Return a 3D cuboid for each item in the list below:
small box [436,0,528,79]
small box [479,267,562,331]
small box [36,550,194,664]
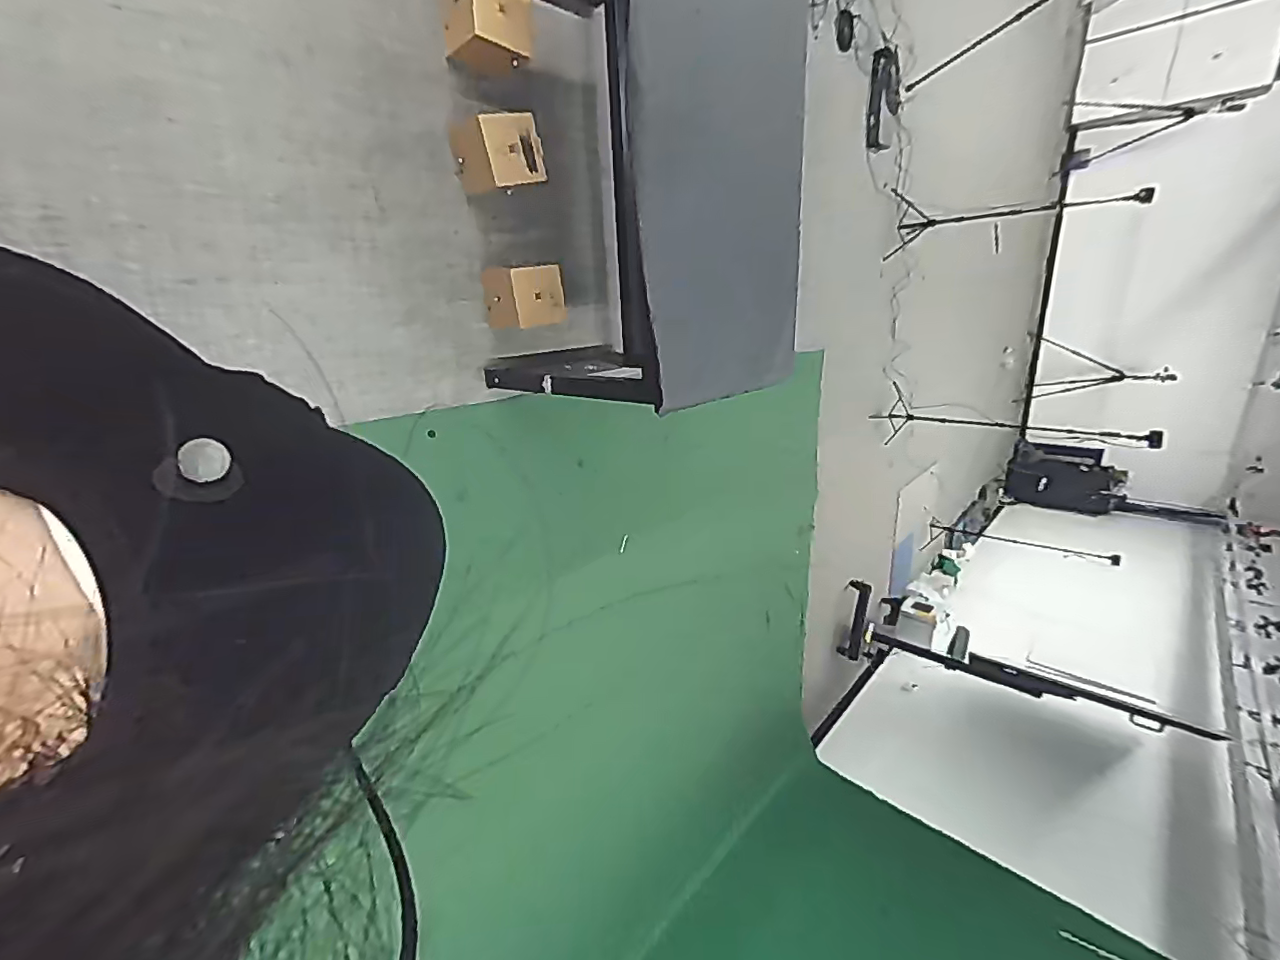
[{"bbox_3d":[-0.415,-1.184,1.408,0.179,0.176,0.168,-16,111,-45],"label":"small box"},{"bbox_3d":[-0.362,-0.541,1.623,0.179,0.176,0.168,-26,119,-41],"label":"small box"},{"bbox_3d":[-1.043,0.249,1.076,0.179,0.176,0.168,30,79,-48],"label":"small box"}]
